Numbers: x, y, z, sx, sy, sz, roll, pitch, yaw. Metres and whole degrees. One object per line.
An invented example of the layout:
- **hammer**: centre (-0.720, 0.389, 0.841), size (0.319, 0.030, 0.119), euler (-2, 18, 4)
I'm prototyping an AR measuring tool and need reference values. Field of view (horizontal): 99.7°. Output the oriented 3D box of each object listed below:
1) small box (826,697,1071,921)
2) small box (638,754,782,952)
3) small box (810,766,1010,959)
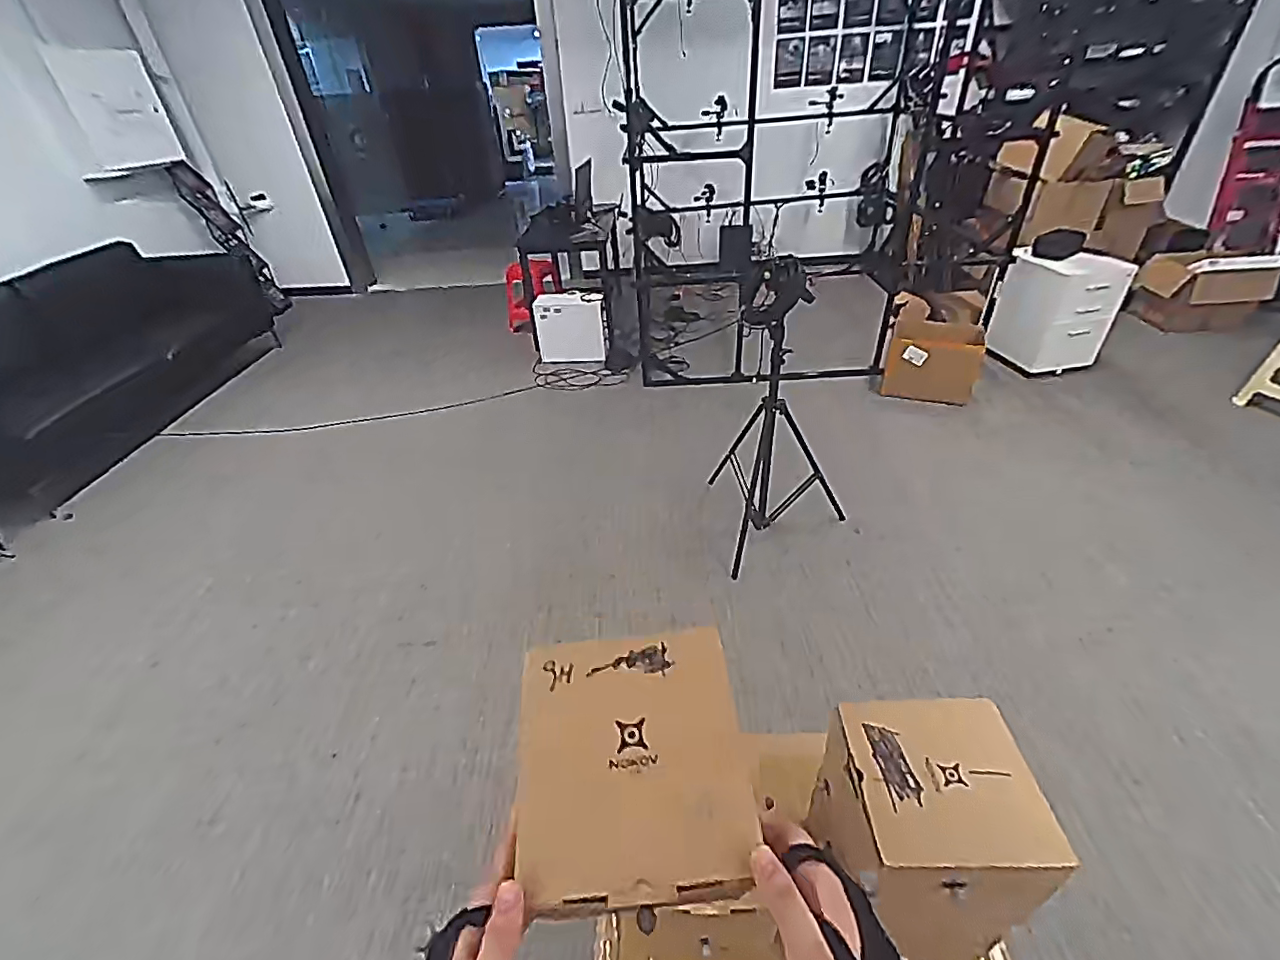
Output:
- **small box**: centre (0.314, 0.364, 0.601), size (0.179, 0.176, 0.168), euler (-3, 36, 4)
- **small box**: centre (0.083, 0.495, 0.724), size (0.168, 0.176, 0.179), euler (-2, 37, 2)
- **small box**: centre (0.326, 0.497, 0.699), size (0.168, 0.176, 0.179), euler (-4, 38, 5)
